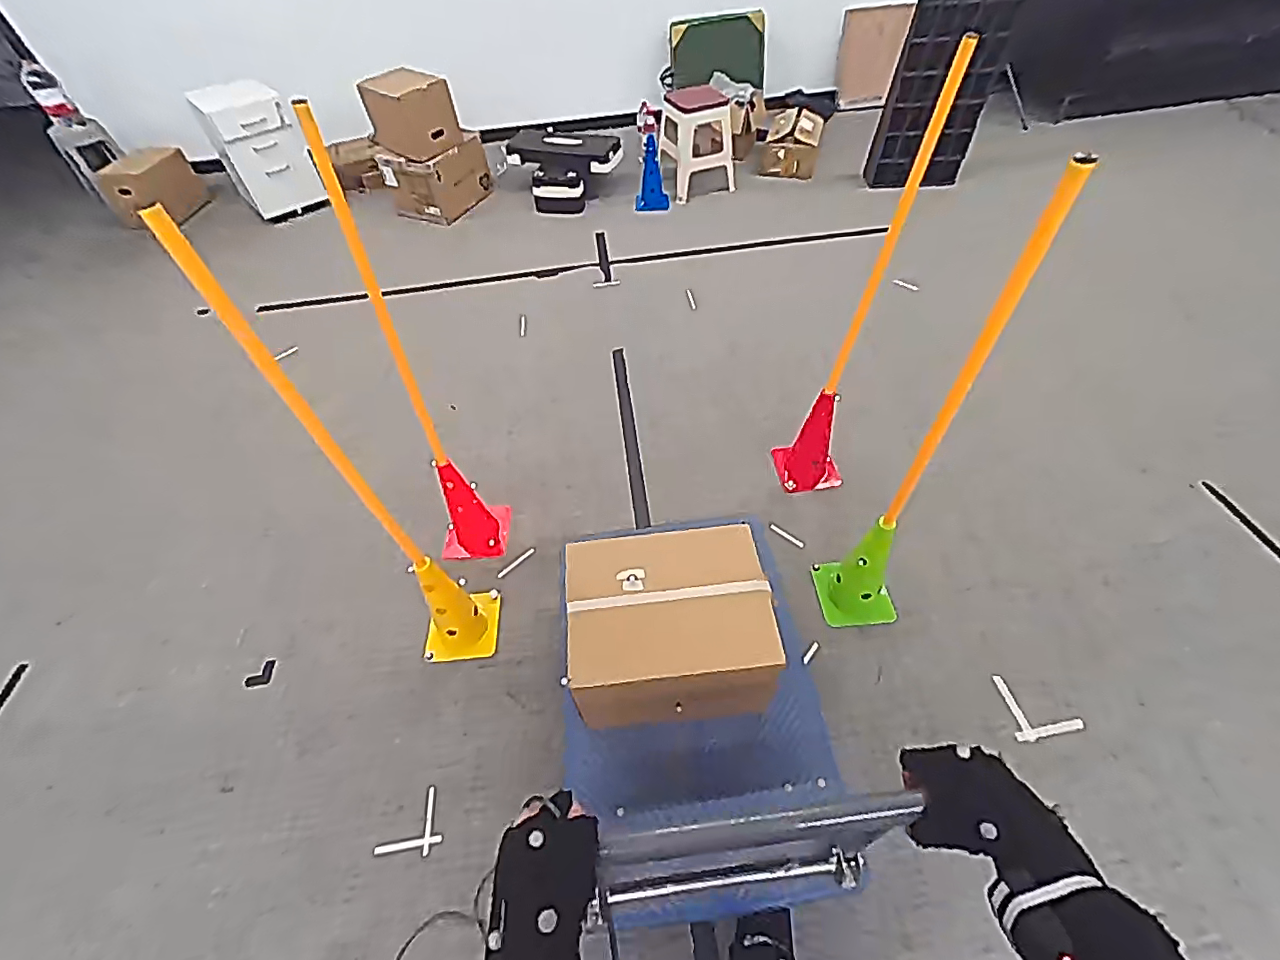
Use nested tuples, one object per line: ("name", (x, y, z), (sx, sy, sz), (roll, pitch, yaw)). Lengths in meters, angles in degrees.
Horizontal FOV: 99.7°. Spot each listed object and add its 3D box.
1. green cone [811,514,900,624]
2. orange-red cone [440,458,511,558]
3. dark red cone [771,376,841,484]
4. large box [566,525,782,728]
("green cone", (0.610, 0.214, 1.446), (0.202, 0.368, 0.200), (-4, 51, -1))
("orange-red cone", (-0.540, 0.061, 1.653), (0.198, 0.360, 0.199), (-1, 49, 2))
("dark red cone", (0.567, -0.170, 1.739), (0.201, 0.394, 0.202), (-7, 51, -4))
("large box", (0.062, 0.332, 1.203), (0.408, 0.320, 0.320), (-7, 51, -1))
